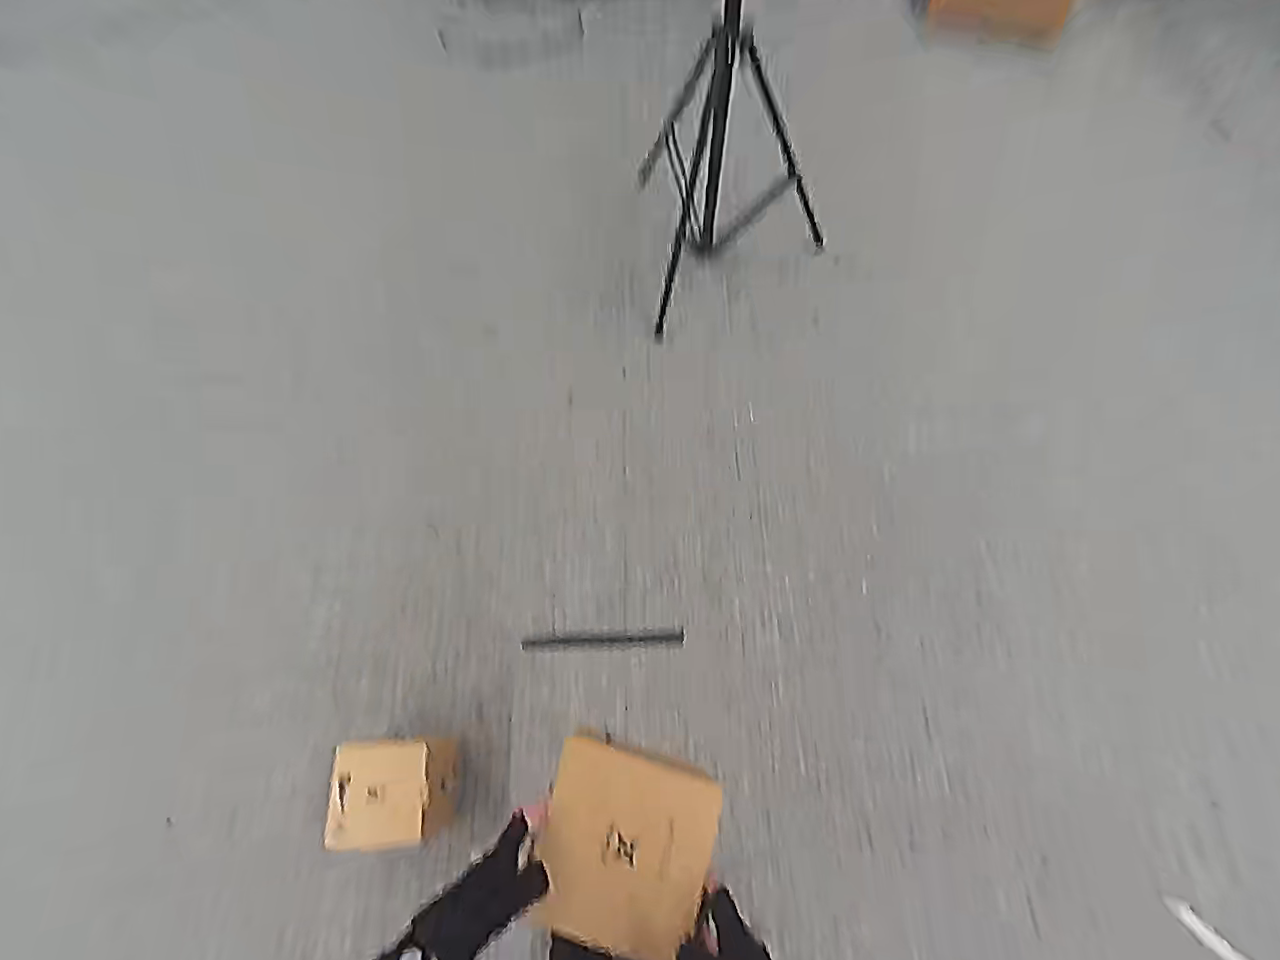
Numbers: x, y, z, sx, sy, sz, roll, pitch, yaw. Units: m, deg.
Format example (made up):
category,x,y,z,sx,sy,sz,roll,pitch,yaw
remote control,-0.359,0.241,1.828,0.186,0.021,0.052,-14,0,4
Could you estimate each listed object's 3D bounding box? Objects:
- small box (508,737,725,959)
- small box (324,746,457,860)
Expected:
category,x,y,z,sx,sy,sz,roll,pitch,yaw
small box,-0.021,0.399,0.602,0.179,0.176,0.168,16,70,4
small box,-0.469,0.617,1.050,0.179,0.176,0.168,-3,68,0
